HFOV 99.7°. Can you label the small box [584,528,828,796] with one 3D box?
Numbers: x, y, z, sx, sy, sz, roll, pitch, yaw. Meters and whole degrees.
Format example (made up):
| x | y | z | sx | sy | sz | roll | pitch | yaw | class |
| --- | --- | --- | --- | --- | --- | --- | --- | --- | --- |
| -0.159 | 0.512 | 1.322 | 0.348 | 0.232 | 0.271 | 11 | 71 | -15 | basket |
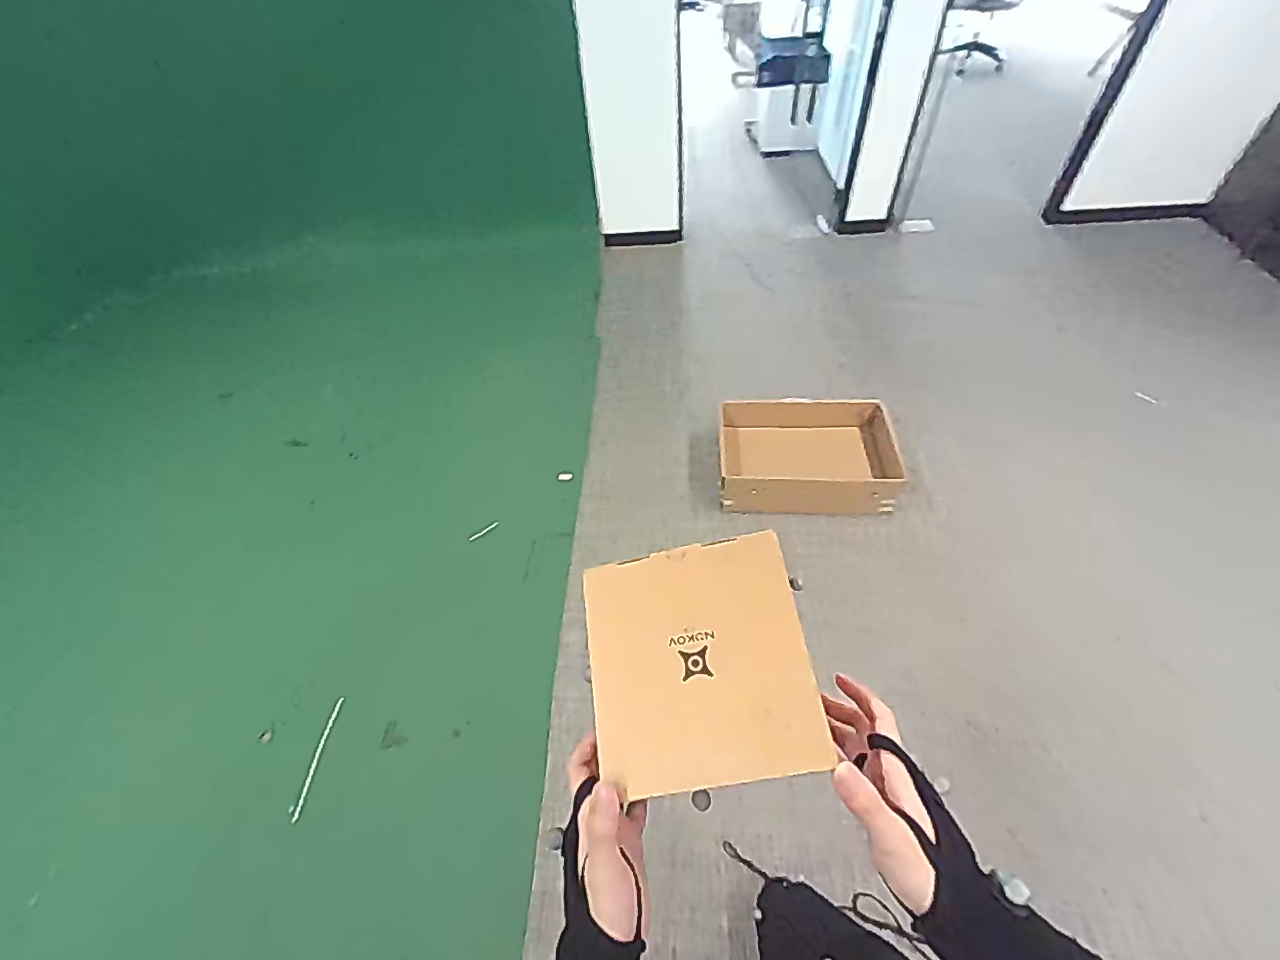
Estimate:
| x | y | z | sx | sy | sz | roll | pitch | yaw | class |
| --- | --- | --- | --- | --- | --- | --- | --- | --- | --- |
| 0.059 | 0.166 | 0.477 | 0.168 | 0.176 | 0.179 | -13 | 59 | 8 | small box |
